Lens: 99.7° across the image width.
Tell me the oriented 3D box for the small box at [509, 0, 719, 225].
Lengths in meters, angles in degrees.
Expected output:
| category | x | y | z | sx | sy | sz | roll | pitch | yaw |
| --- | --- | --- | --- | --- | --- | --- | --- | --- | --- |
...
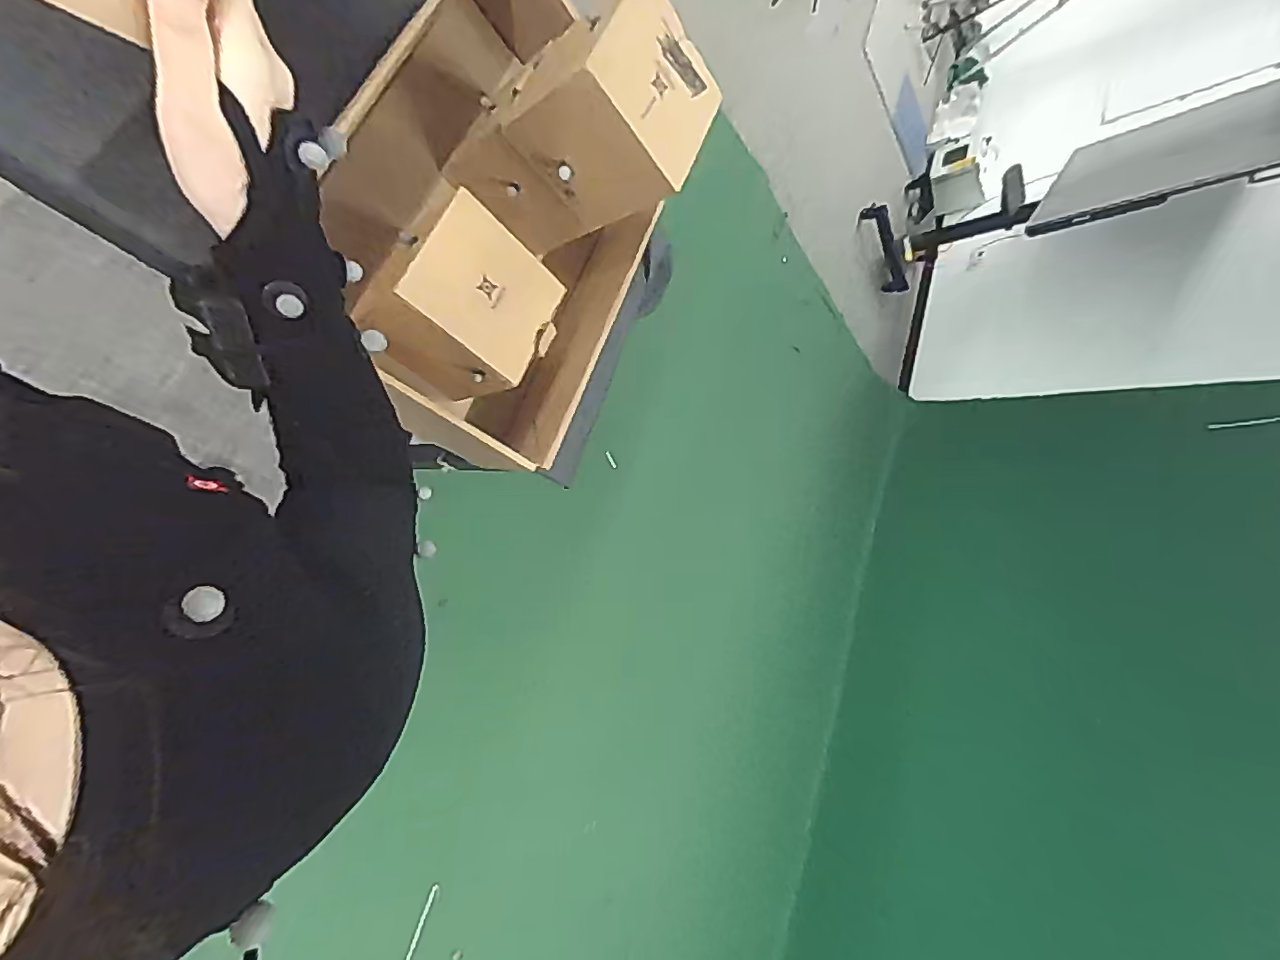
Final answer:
| category | x | y | z | sx | sy | sz | roll | pitch | yaw |
| --- | --- | --- | --- | --- | --- | --- | --- | --- | --- |
| small box | -0.034 | -0.460 | 0.676 | 0.168 | 0.176 | 0.179 | 37 | 68 | -40 |
